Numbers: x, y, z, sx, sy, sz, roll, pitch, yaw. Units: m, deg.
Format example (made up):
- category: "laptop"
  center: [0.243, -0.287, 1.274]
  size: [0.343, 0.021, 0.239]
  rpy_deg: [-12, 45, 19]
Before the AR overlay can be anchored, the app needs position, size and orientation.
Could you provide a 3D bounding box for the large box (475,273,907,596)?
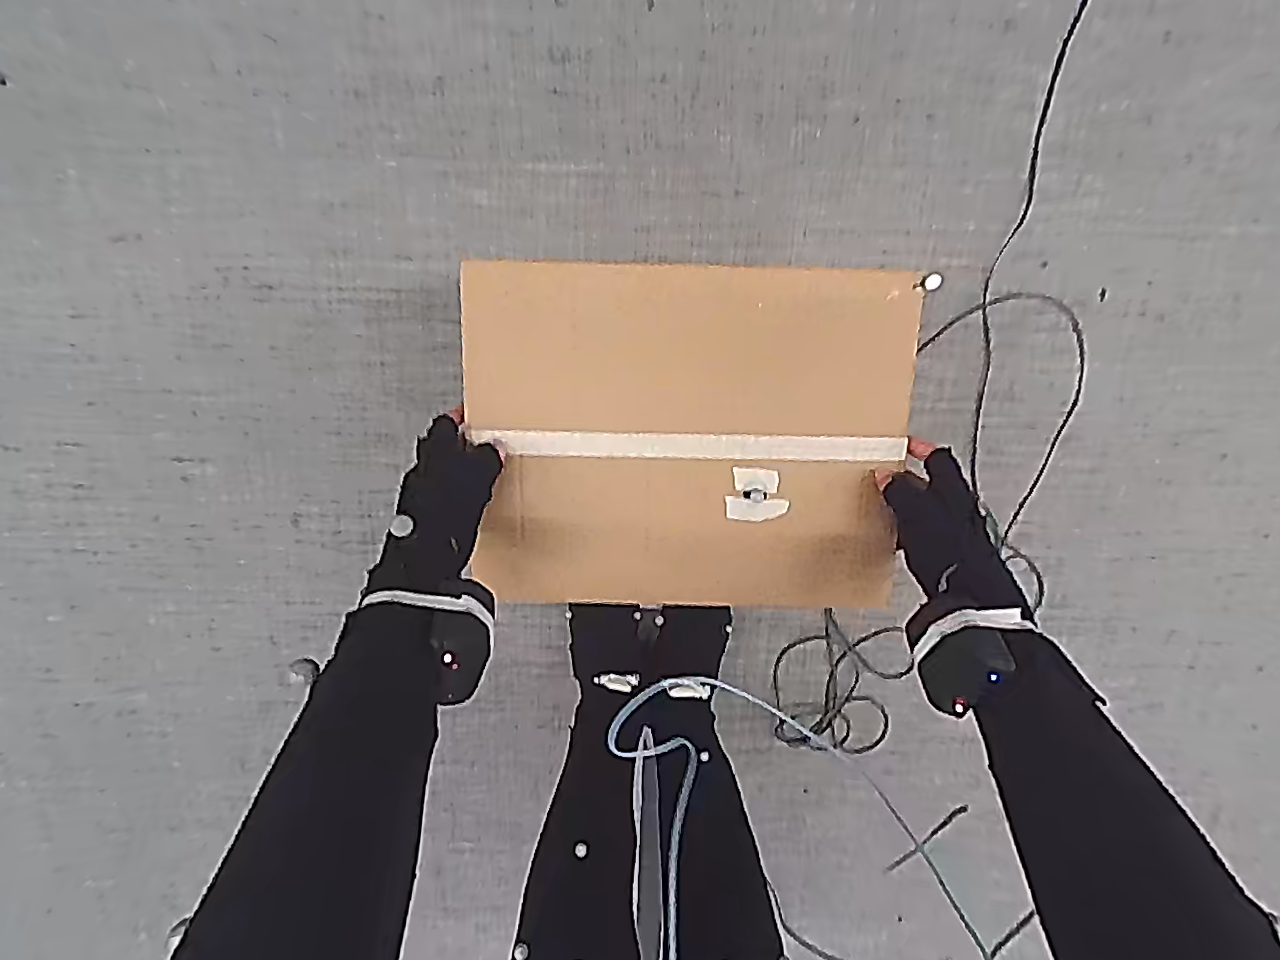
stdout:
- category: "large box"
  center: [0.044, -0.060, 0.665]
  size: [0.408, 0.320, 0.320]
  rpy_deg: [1, 101, -1]
